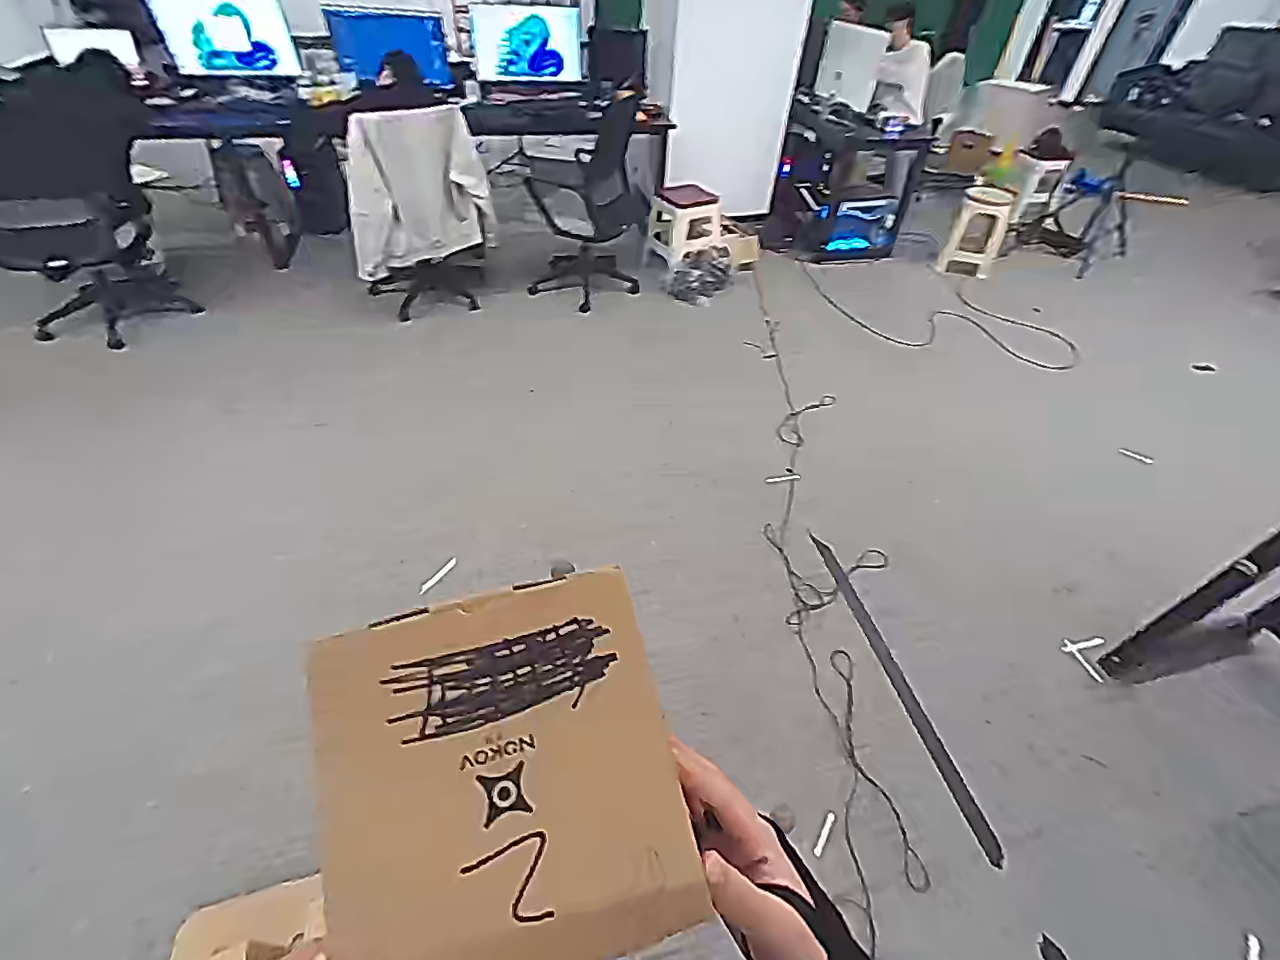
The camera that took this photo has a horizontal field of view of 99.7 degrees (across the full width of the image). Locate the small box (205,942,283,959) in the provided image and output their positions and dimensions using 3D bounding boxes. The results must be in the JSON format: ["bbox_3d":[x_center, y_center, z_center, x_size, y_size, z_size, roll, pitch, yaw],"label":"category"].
[{"bbox_3d":[-0.764,0.978,0.970,0.168,0.176,0.179,-14,48,-15],"label":"small box"}]
